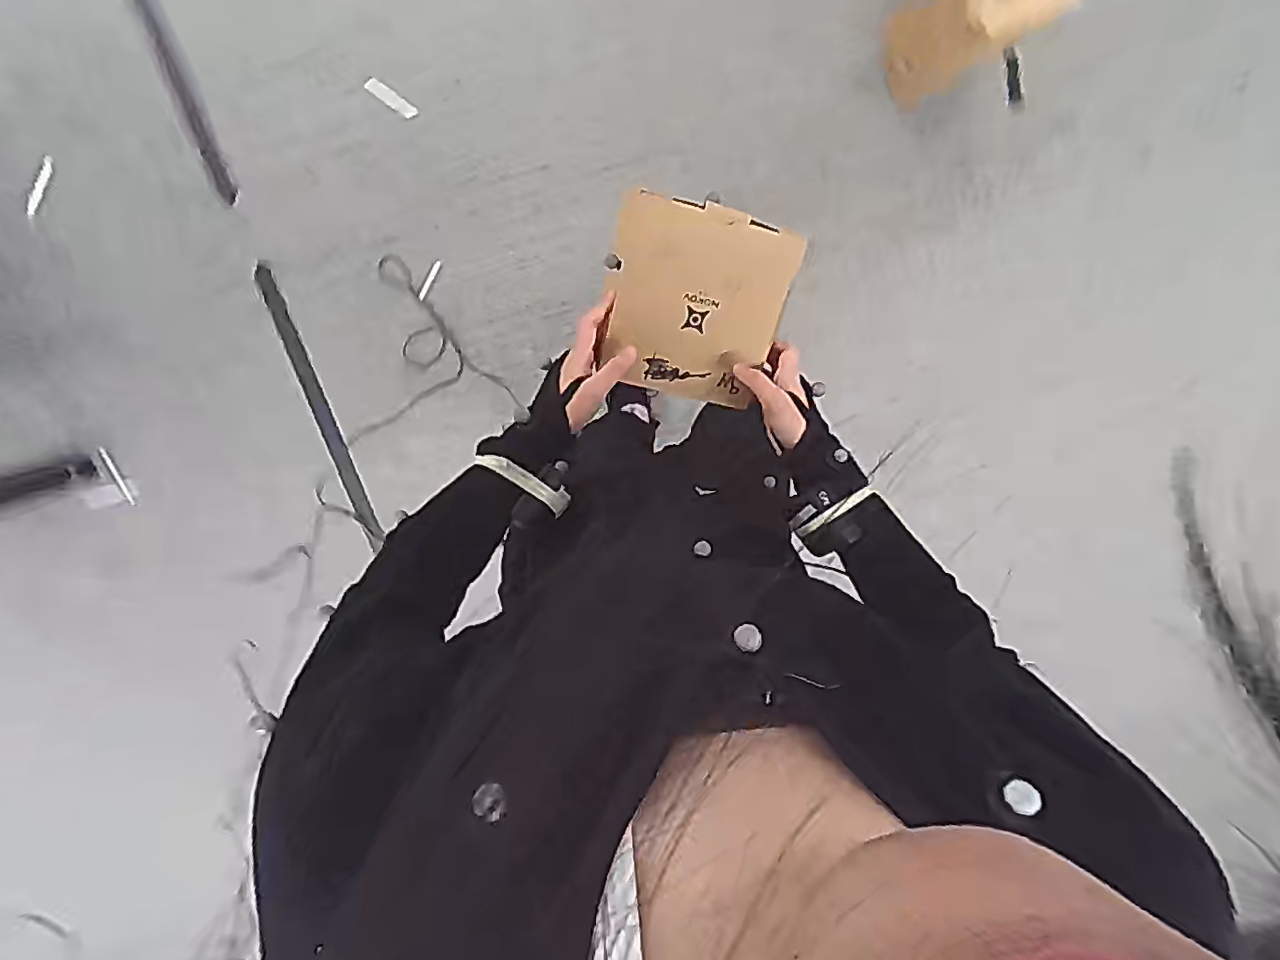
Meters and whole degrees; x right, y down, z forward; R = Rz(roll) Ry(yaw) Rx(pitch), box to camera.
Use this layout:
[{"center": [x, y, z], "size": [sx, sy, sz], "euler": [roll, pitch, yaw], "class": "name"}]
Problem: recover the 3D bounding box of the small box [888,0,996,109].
[{"center": [0.656, -0.937, 1.161], "size": [0.179, 0.176, 0.168], "euler": [-19, 107, 3], "class": "small box"}]
